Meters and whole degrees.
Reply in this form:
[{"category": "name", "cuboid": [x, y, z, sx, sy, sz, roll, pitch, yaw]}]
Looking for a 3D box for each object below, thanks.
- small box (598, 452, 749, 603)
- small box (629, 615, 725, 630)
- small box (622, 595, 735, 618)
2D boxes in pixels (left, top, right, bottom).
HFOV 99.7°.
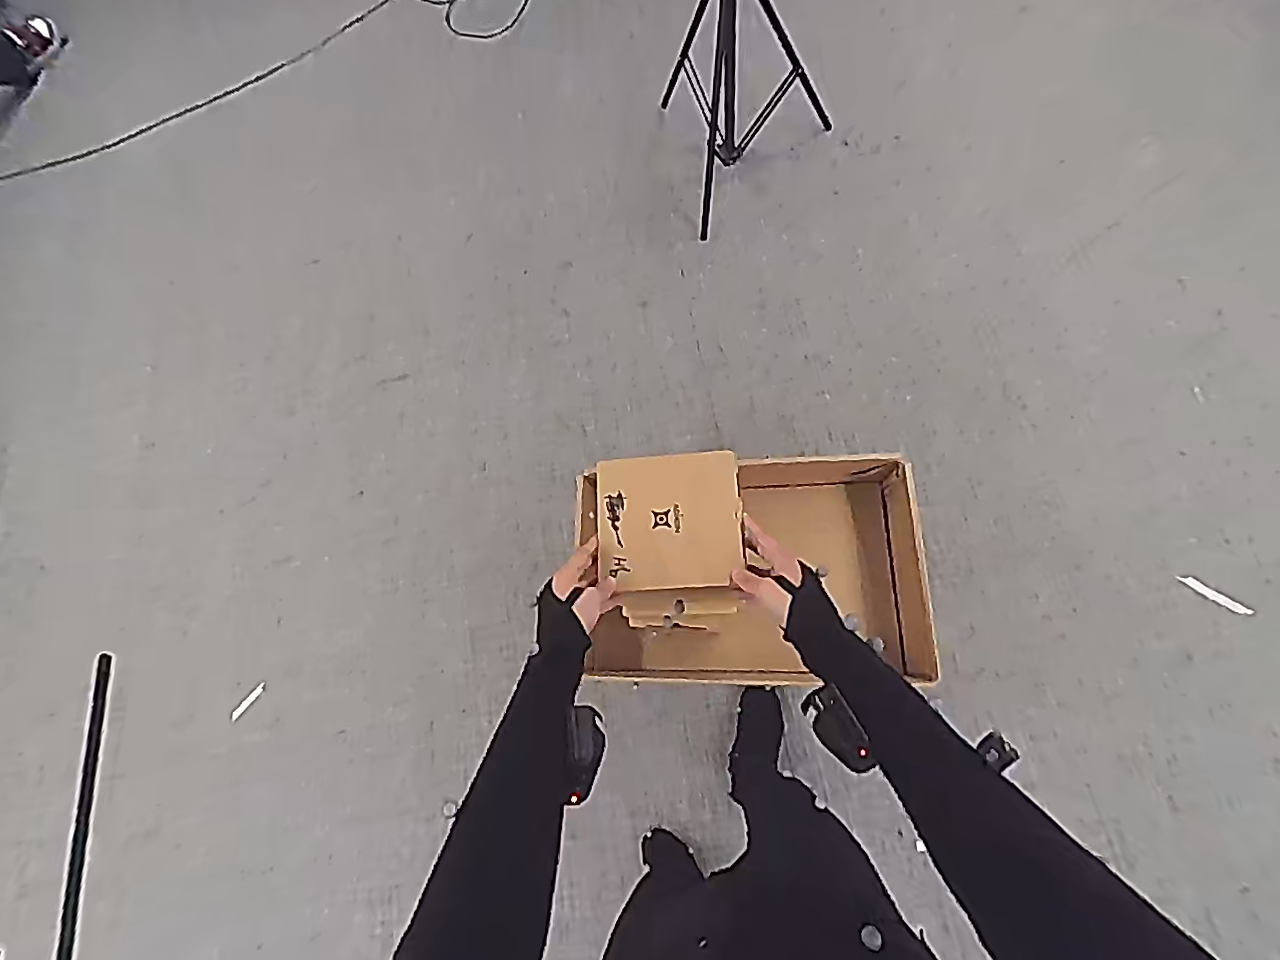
[{"category": "small box", "cuboid": [0.044, 0.071, 0.719, 0.179, 0.176, 0.168, -4, 71, 6]}, {"category": "small box", "cuboid": [0.078, 0.189, 1.022, 0.168, 0.176, 0.179, 1, 72, 8]}, {"category": "small box", "cuboid": [0.066, 0.130, 0.870, 0.168, 0.176, 0.179, -3, 71, 7]}]
